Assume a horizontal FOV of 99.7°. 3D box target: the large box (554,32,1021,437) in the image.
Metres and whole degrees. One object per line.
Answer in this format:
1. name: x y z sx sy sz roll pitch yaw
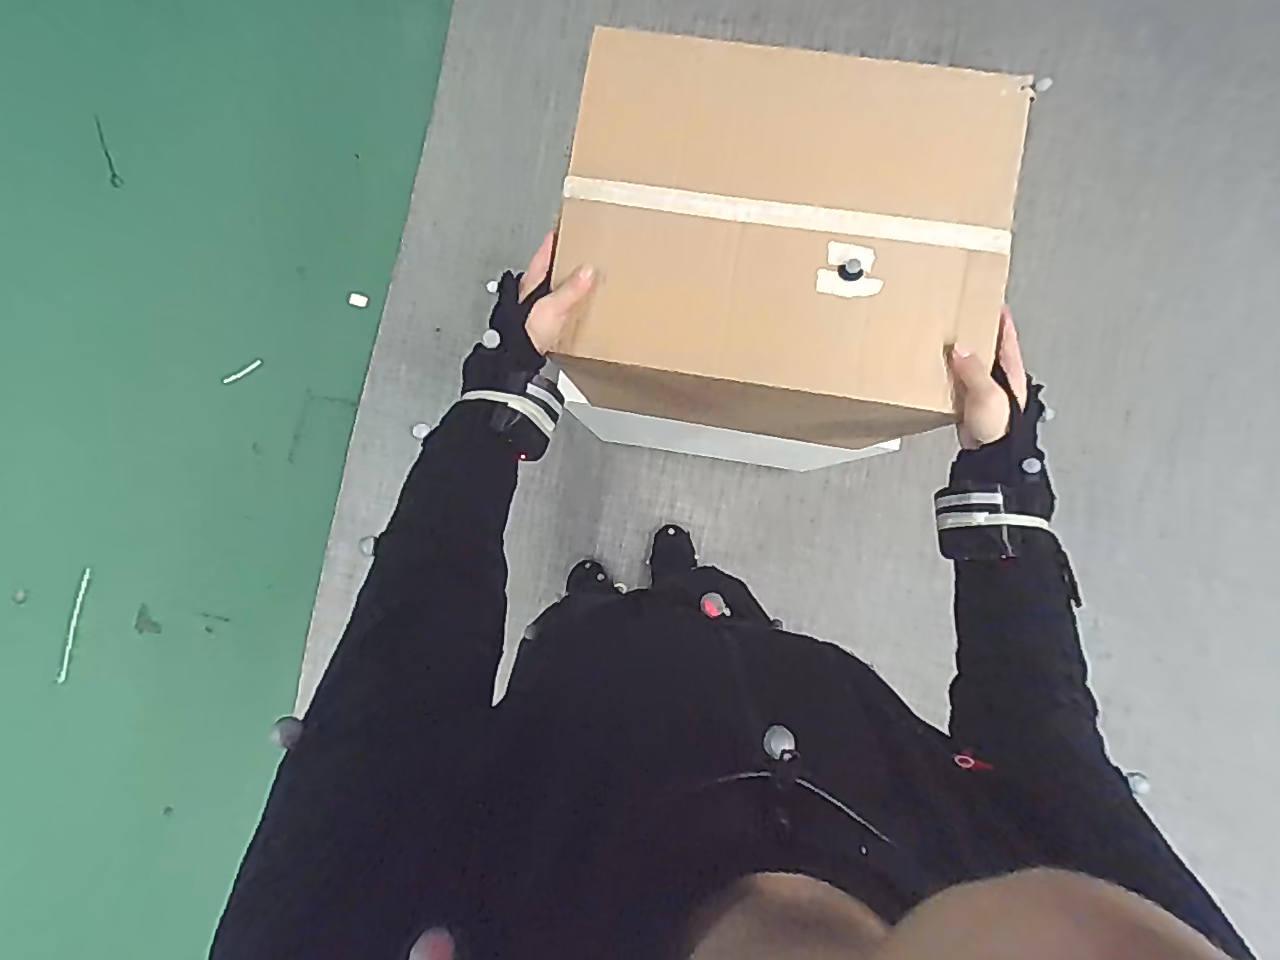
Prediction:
1. large box: 0.138 -0.244 0.649 0.408 0.320 0.320 9 89 2
